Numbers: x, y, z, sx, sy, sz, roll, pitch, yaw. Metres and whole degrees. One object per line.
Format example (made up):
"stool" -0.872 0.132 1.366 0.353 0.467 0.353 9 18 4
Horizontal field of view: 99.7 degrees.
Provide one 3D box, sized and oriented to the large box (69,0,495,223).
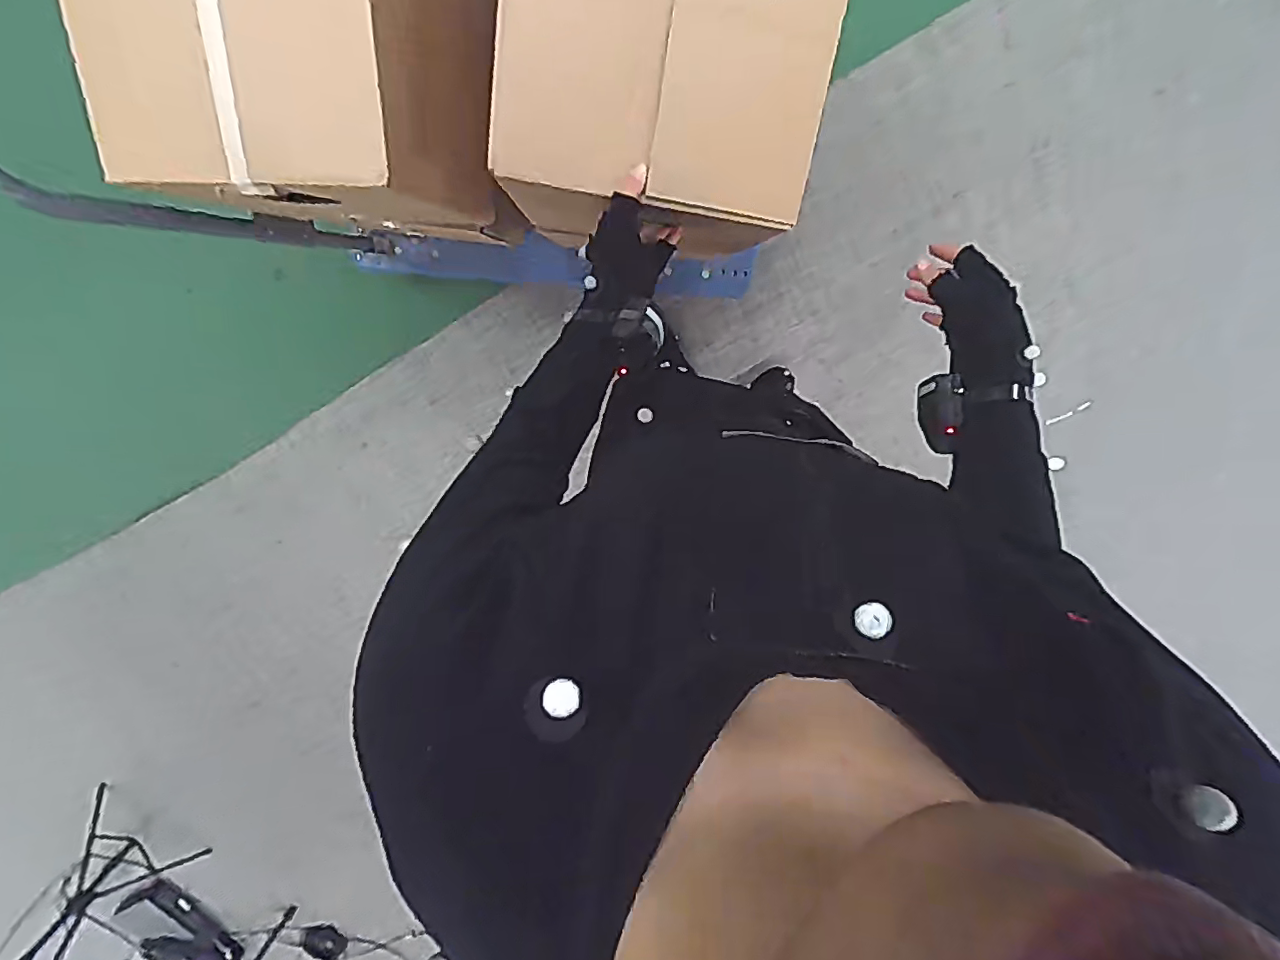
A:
"large box" -0.381 -0.539 0.631 0.320 0.320 0.408 4 108 5
